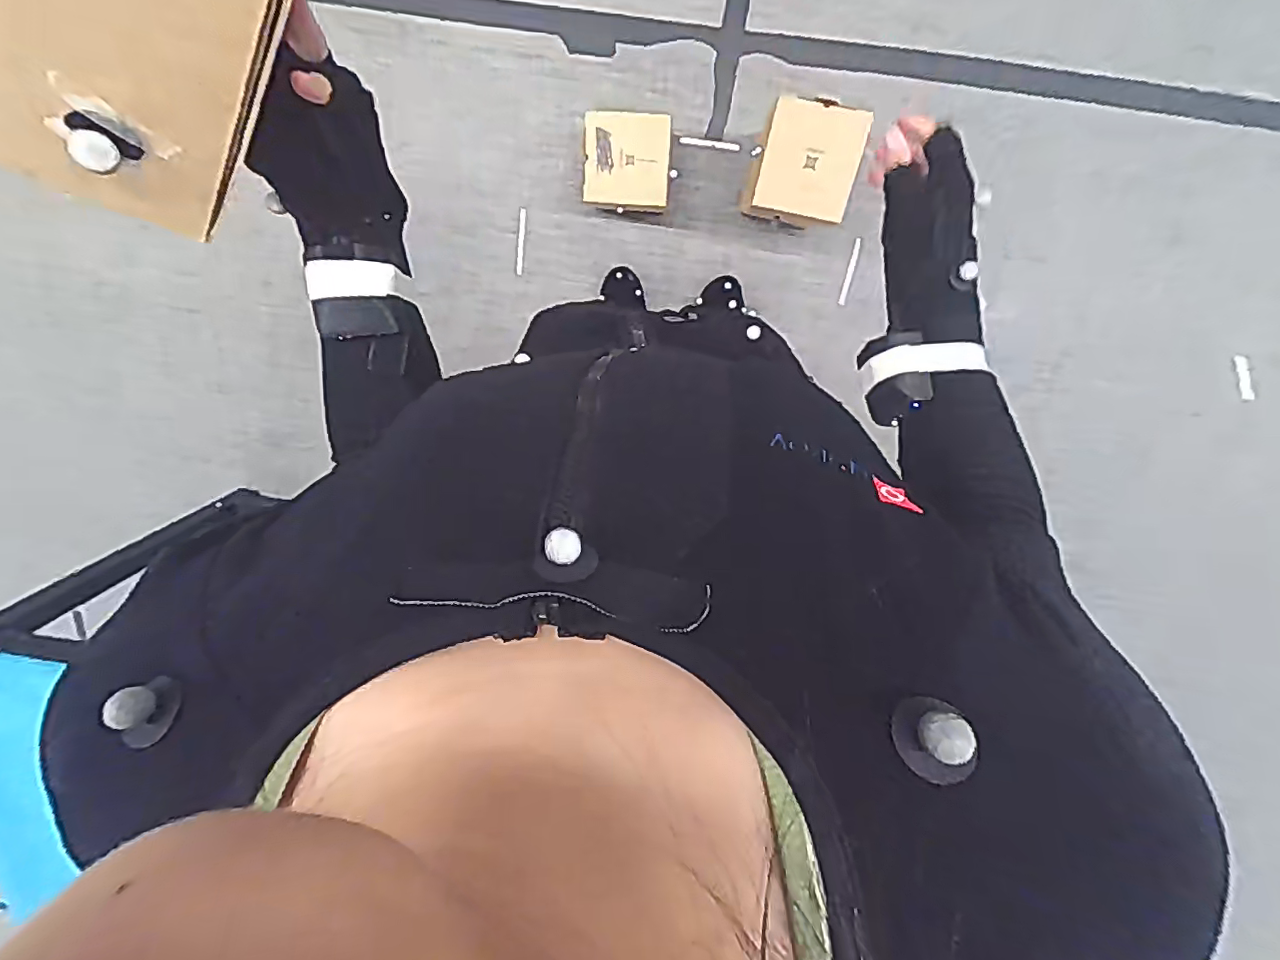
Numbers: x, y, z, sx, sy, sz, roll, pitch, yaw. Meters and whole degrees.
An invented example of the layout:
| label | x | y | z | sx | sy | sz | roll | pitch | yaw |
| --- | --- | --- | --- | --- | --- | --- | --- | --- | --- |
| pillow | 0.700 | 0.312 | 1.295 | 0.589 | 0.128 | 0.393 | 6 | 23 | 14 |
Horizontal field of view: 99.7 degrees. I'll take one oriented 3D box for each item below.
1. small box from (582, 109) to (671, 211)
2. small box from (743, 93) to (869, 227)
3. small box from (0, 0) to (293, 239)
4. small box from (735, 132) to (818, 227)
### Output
| label | x | y | z | sx | sy | sz | roll | pitch | yaw |
| --- | --- | --- | --- | --- | --- | --- | --- | --- | --- |
| small box | -0.025 | -0.690 | 1.184 | 0.179 | 0.176 | 0.168 | 5 | 112 | 1 |
| small box | 0.301 | -0.595 | 1.027 | 0.168 | 0.176 | 0.179 | 13 | 114 | -1 |
| small box | -0.226 | -0.235 | 0.191 | 0.176 | 0.168 | 0.179 | 12 | 153 | -43 |
| small box | 0.320 | -0.658 | 1.176 | 0.179 | 0.176 | 0.168 | 12 | 112 | -3 |
